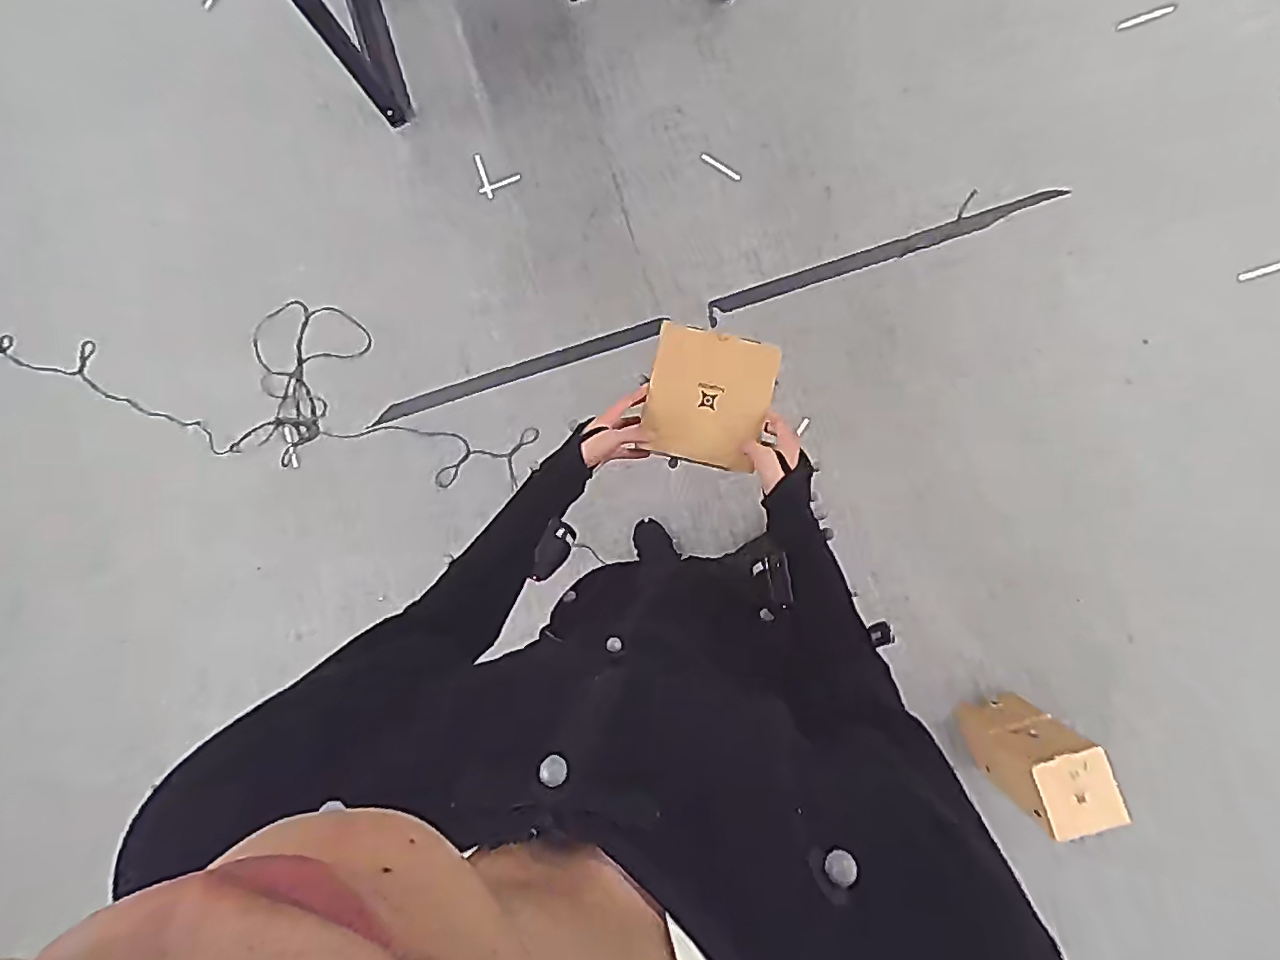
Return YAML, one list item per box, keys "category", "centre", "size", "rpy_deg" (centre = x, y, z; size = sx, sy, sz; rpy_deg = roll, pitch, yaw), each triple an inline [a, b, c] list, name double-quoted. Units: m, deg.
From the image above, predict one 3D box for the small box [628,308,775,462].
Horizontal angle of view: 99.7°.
- category: "small box"
  centre: [0.081, -0.126, 0.788]
  size: [0.168, 0.176, 0.179]
  rpy_deg: [12, 90, -1]

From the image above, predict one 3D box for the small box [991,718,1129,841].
- category: "small box"
  centre: [0.974, 0.694, 1.269]
  size: [0.168, 0.176, 0.179]
  rpy_deg: [-18, 85, 2]

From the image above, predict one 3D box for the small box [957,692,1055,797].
- category: "small box"
  centre: [0.984, 0.694, 1.433]
  size: [0.168, 0.176, 0.179]
  rpy_deg: [-18, 86, 3]
